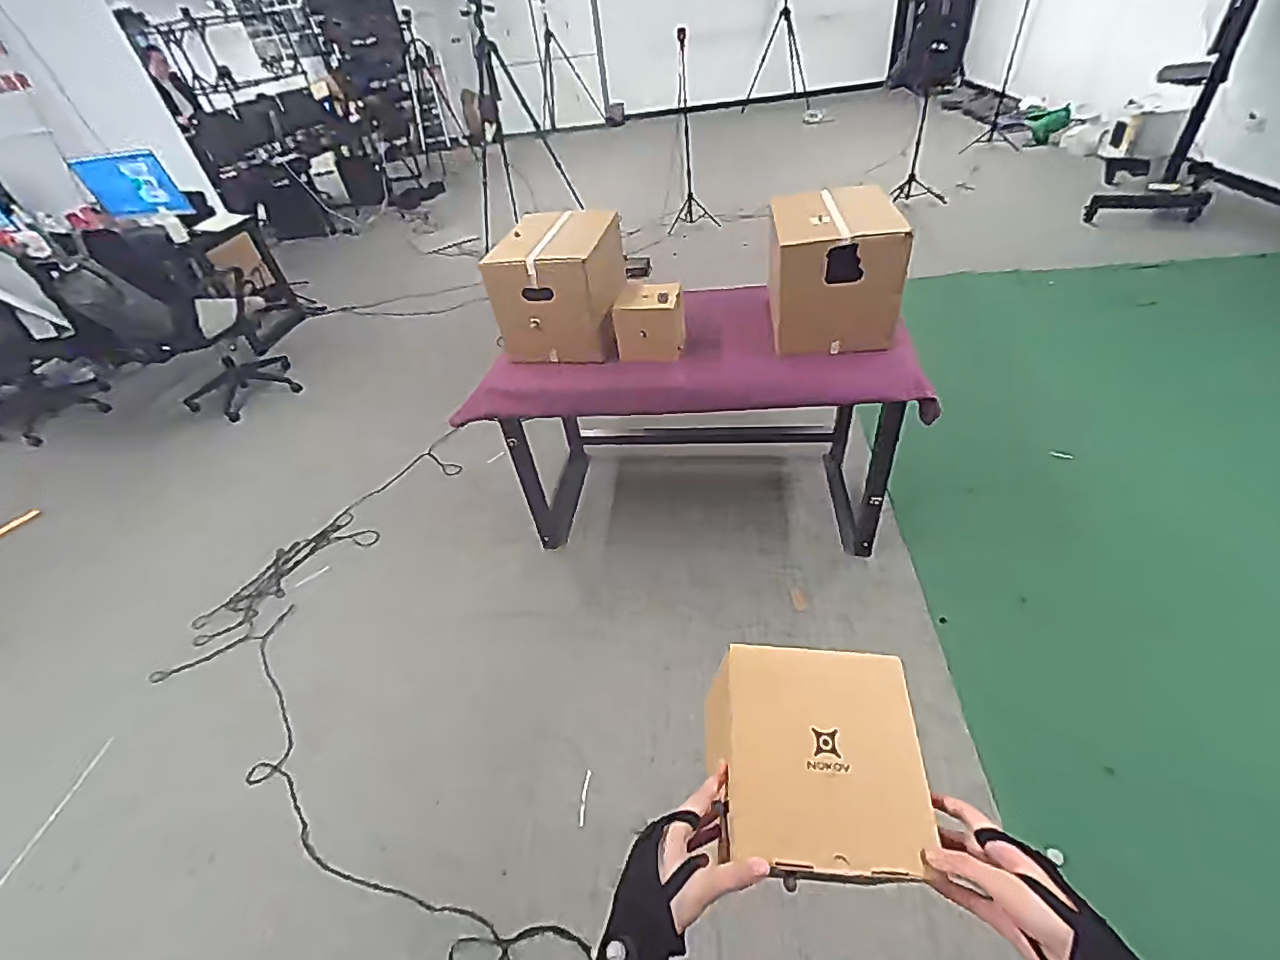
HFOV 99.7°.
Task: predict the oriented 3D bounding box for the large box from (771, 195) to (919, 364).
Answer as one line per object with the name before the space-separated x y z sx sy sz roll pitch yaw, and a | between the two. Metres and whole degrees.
large box | 0.546 -0.573 1.538 0.320 0.320 0.408 -3 42 11
